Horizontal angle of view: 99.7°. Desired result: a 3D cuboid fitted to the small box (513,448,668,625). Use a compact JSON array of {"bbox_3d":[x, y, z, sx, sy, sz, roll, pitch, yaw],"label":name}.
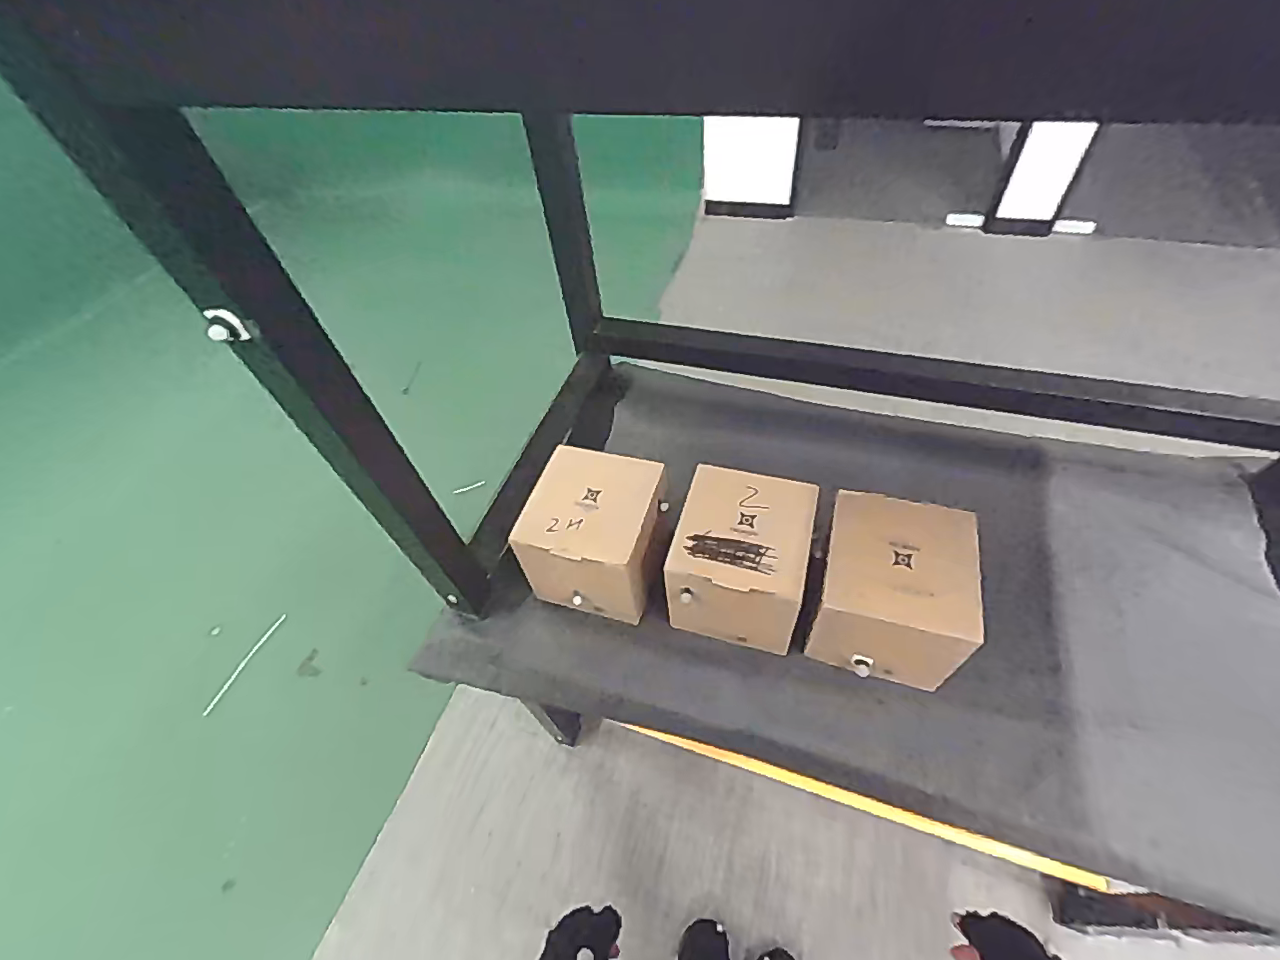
[{"bbox_3d":[-0.059,0.083,0.791,0.168,0.176,0.179,11,53,15],"label":"small box"}]
